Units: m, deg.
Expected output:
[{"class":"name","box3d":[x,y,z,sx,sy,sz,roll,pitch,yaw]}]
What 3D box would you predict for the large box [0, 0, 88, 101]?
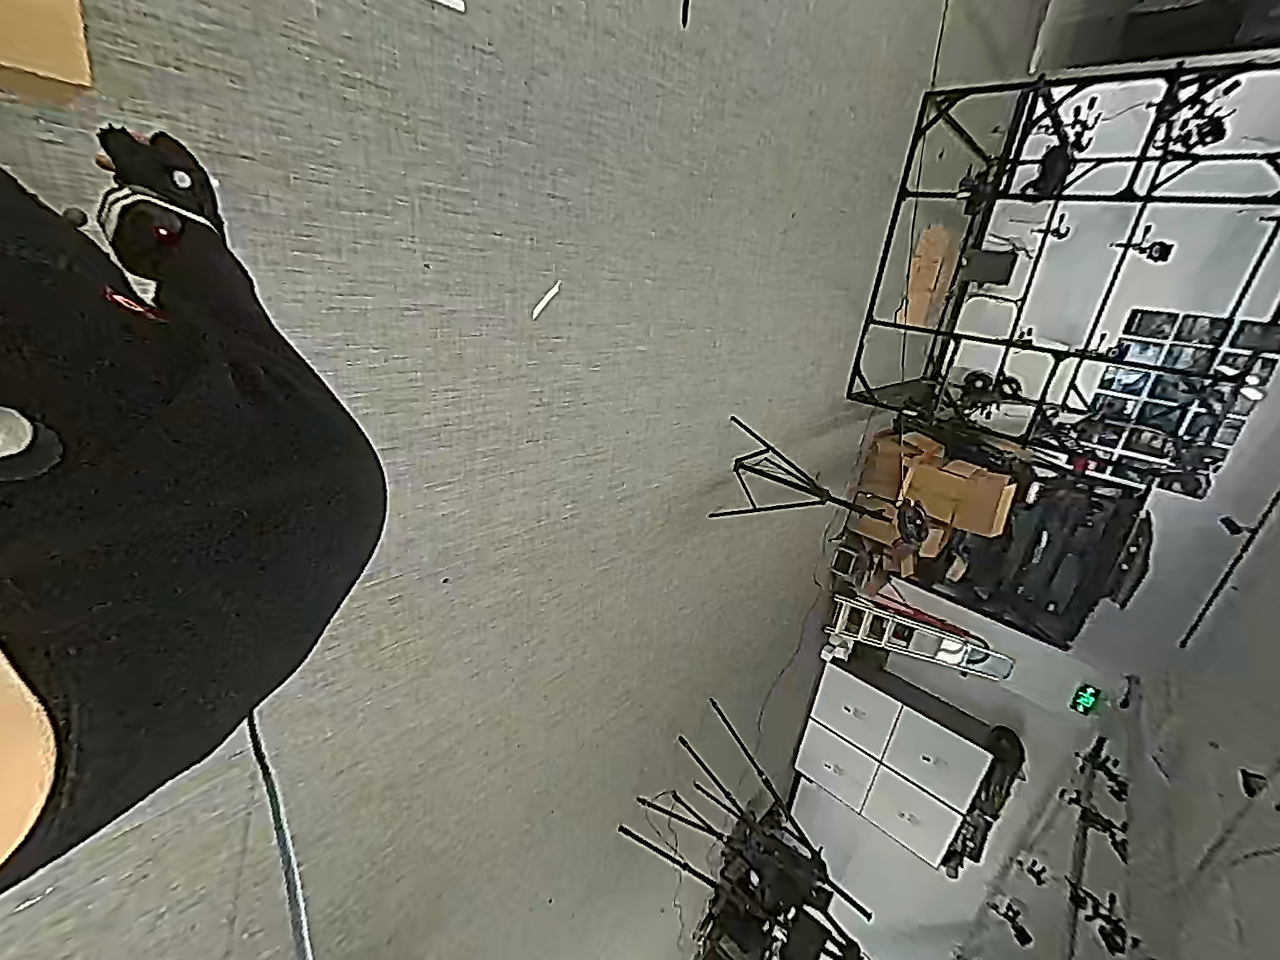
[{"class":"large box","box3d":[-1.011,-0.718,0.662,0.408,0.320,0.320,-15,121,-48]}]
